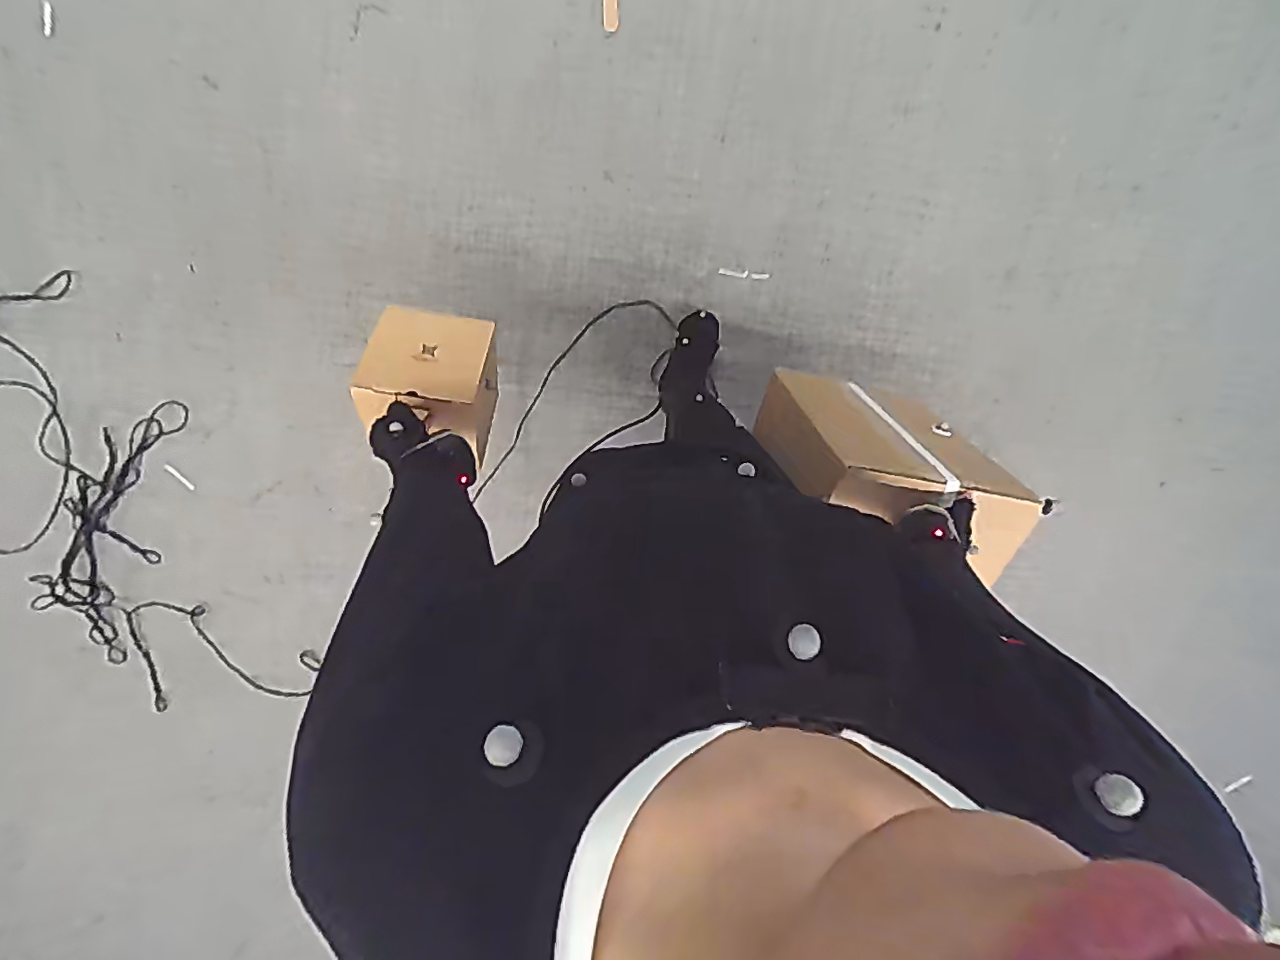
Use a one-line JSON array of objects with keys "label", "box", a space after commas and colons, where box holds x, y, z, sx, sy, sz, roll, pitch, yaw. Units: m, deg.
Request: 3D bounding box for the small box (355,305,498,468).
[{"label": "small box", "box": [-0.321, -0.144, 0.856, 0.168, 0.176, 0.179, 7, 54, -7]}]
